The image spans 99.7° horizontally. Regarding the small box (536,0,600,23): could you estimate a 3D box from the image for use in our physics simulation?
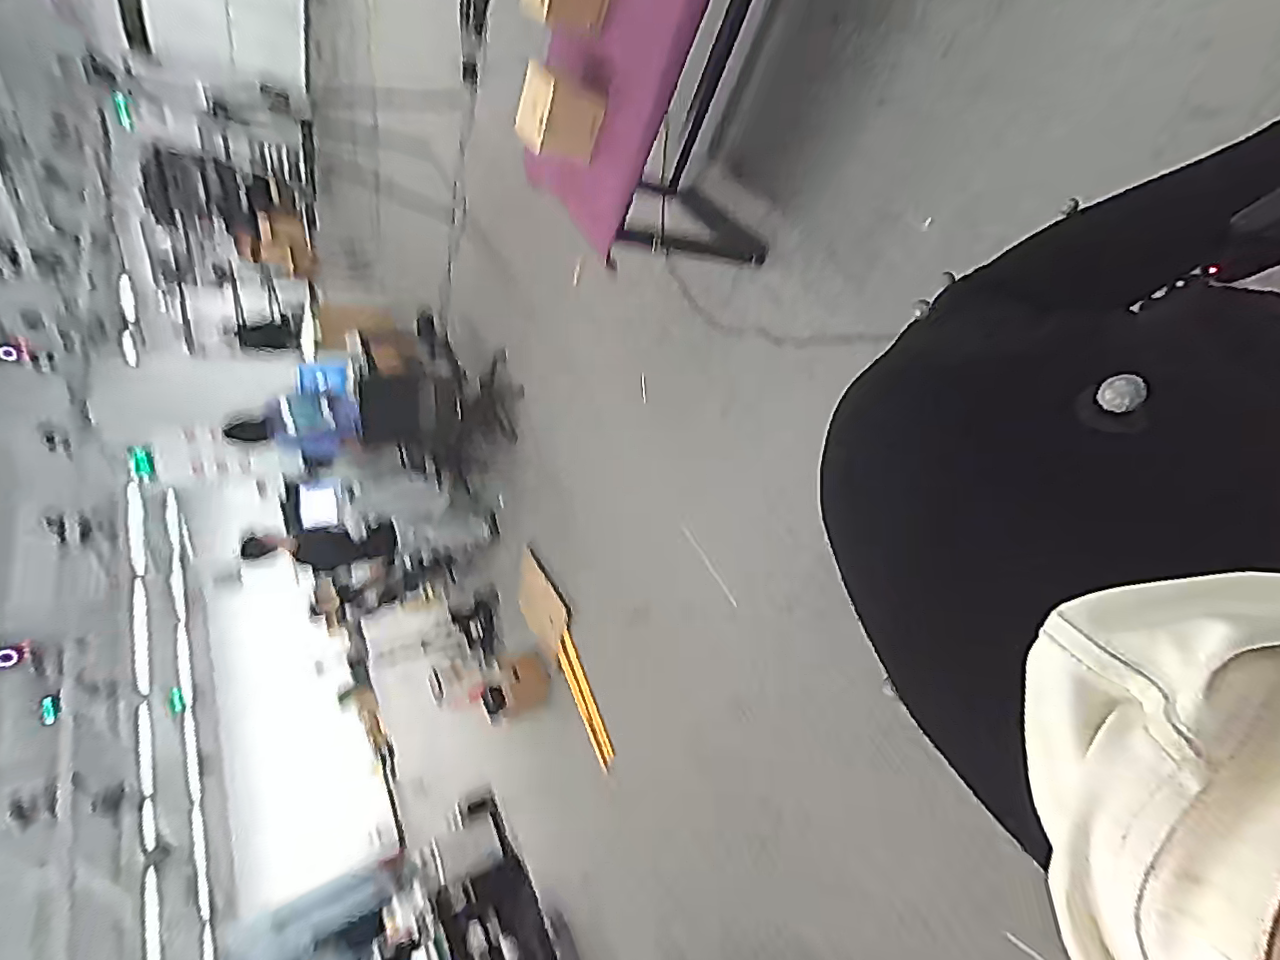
[{"bbox_3d":[-0.197,-1.331,1.403,0.179,0.176,0.168,56,137,29],"label":"small box"}]

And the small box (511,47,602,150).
[{"bbox_3d":[-0.234,-1.057,1.510,0.179,0.176,0.168,57,137,28],"label":"small box"}]
